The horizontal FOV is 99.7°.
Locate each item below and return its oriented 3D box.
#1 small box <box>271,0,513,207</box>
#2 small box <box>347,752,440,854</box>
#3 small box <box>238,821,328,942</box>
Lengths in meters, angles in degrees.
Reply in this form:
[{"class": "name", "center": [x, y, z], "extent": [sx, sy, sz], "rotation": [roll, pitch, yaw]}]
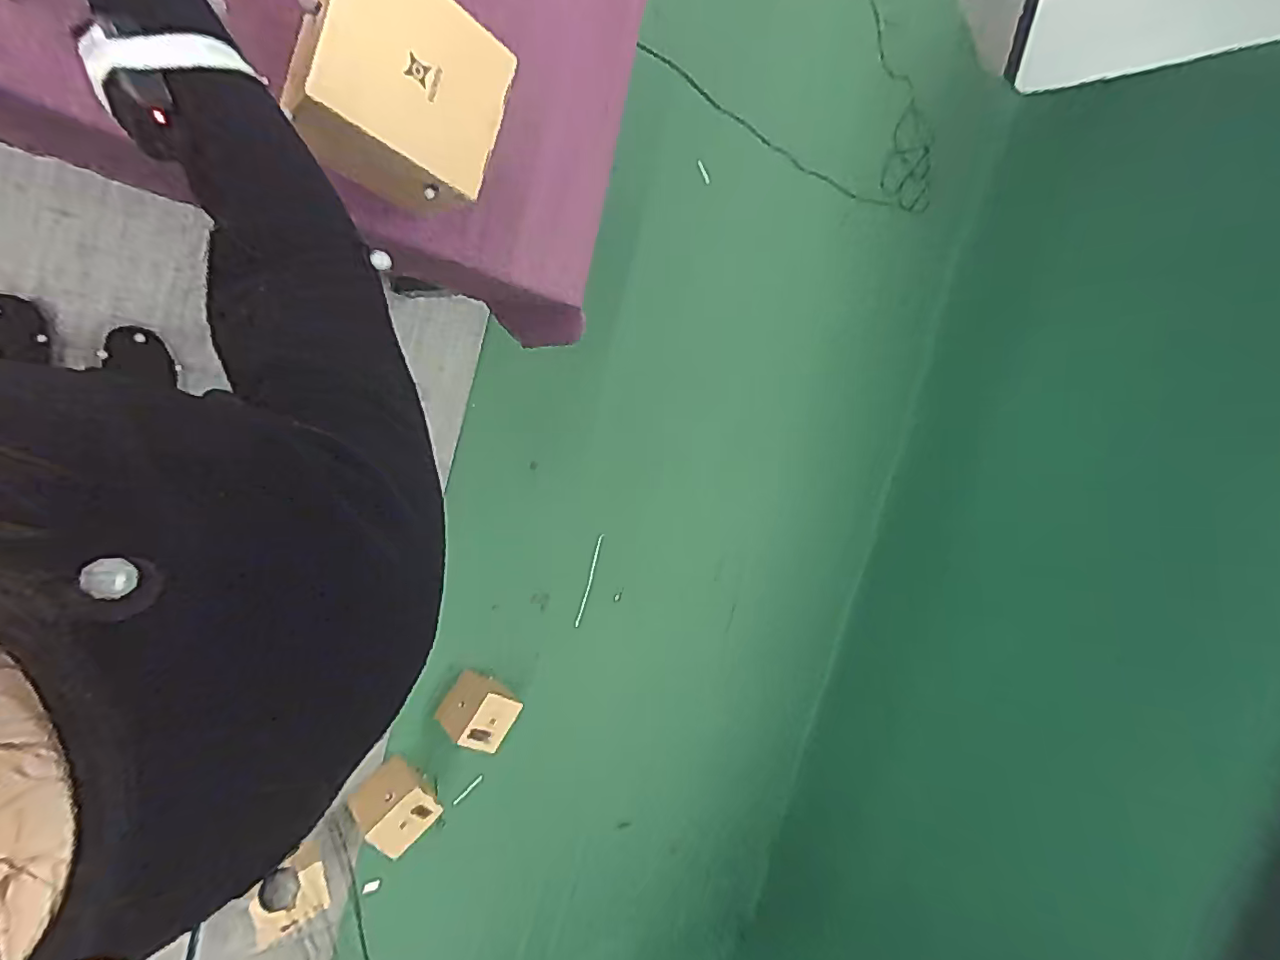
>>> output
[{"class": "small box", "center": [-0.275, -0.424, 0.594], "extent": [0.179, 0.176, 0.168], "rotation": [16, 93, -46]}, {"class": "small box", "center": [-0.754, 0.977, 1.650], "extent": [0.179, 0.176, 0.168], "rotation": [-40, 128, -26]}, {"class": "small box", "center": [-0.974, 1.075, 1.473], "extent": [0.168, 0.176, 0.179], "rotation": [-13, 113, -40]}]
